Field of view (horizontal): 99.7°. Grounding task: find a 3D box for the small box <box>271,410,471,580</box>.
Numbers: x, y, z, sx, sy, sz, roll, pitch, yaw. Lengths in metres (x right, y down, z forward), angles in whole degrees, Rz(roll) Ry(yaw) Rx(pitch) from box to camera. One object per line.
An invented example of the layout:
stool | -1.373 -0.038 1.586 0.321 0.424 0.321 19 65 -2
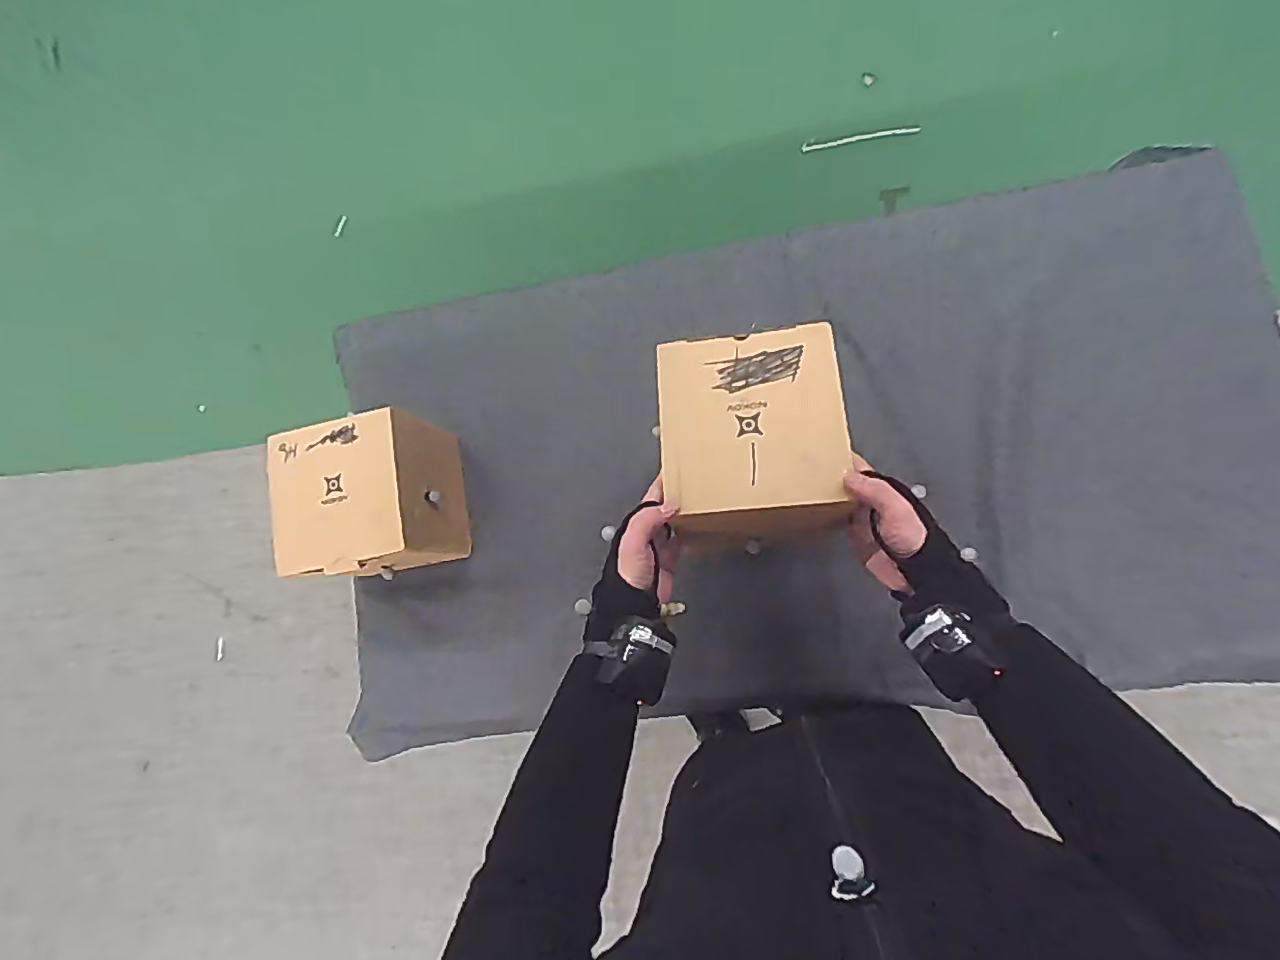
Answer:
small box | -0.339 0.026 0.709 0.168 0.176 0.179 -12 81 7
